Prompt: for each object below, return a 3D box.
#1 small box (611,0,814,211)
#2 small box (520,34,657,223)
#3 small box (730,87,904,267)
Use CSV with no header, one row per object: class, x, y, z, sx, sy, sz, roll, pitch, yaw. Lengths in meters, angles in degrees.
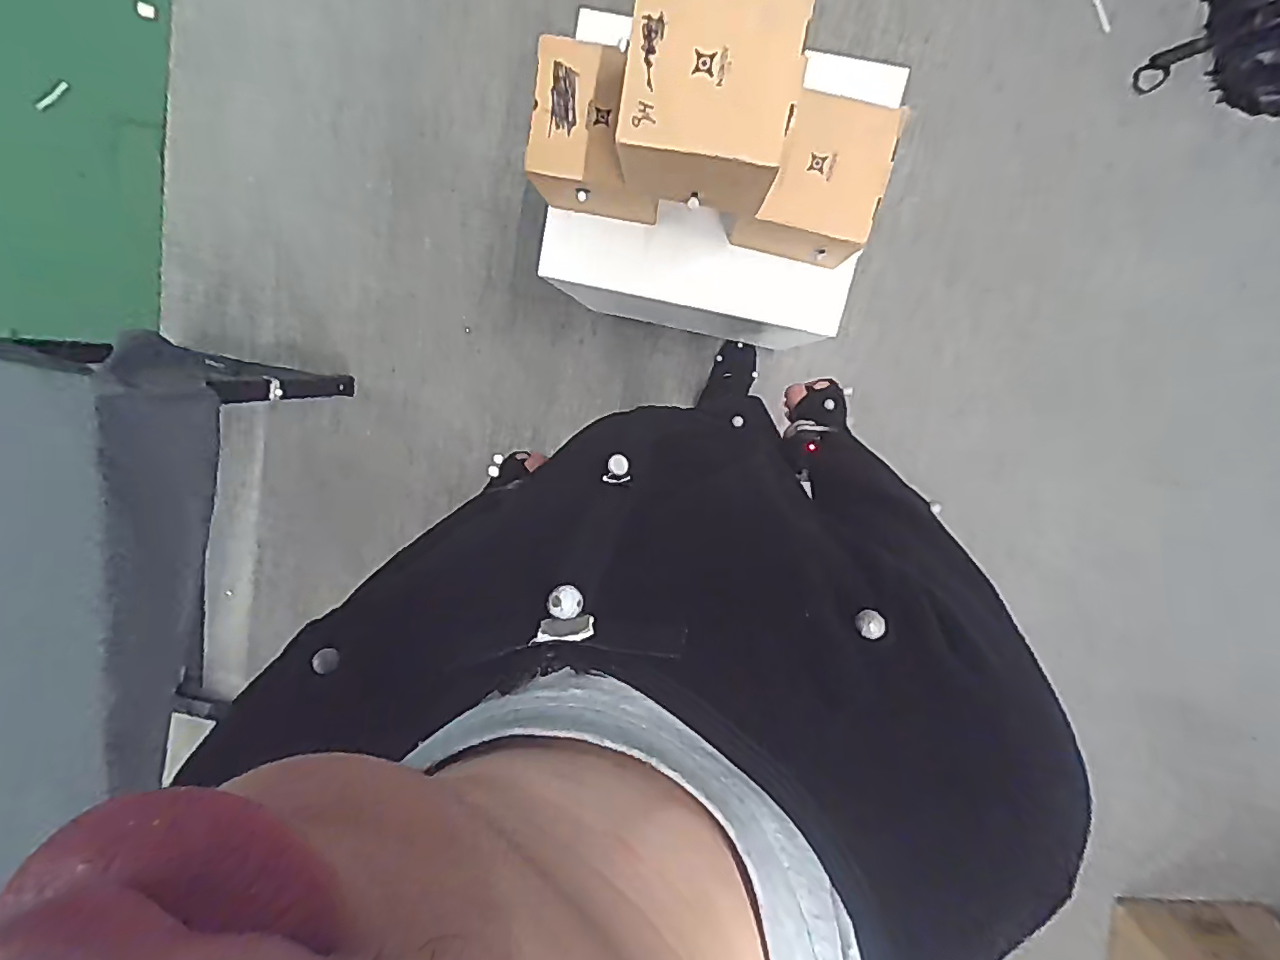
small box,0.073,-0.423,0.614,0.179,0.176,0.168,10,101,1
small box,-0.055,-0.487,0.777,0.179,0.176,0.168,11,102,1
small box,0.235,-0.415,0.769,0.179,0.176,0.168,15,101,4
